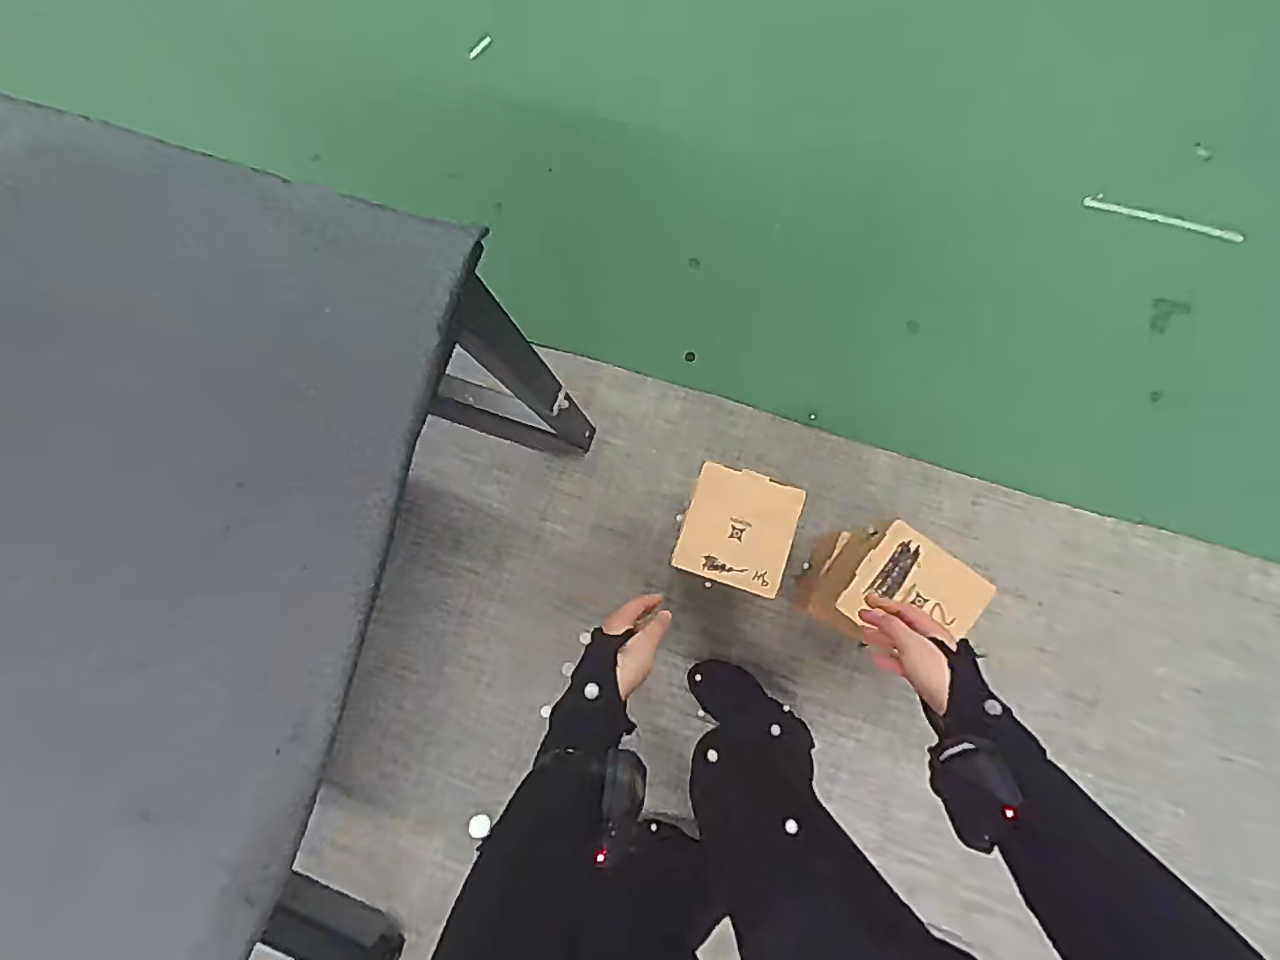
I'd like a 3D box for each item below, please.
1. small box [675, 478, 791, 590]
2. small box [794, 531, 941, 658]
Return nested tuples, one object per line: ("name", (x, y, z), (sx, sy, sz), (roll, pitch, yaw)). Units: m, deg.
("small box", (0.177, 0.105, 1.063), (0.179, 0.176, 0.168), (17, 85, 8))
("small box", (0.419, 0.207, 1.027), (0.179, 0.176, 0.168), (27, 86, 7))
